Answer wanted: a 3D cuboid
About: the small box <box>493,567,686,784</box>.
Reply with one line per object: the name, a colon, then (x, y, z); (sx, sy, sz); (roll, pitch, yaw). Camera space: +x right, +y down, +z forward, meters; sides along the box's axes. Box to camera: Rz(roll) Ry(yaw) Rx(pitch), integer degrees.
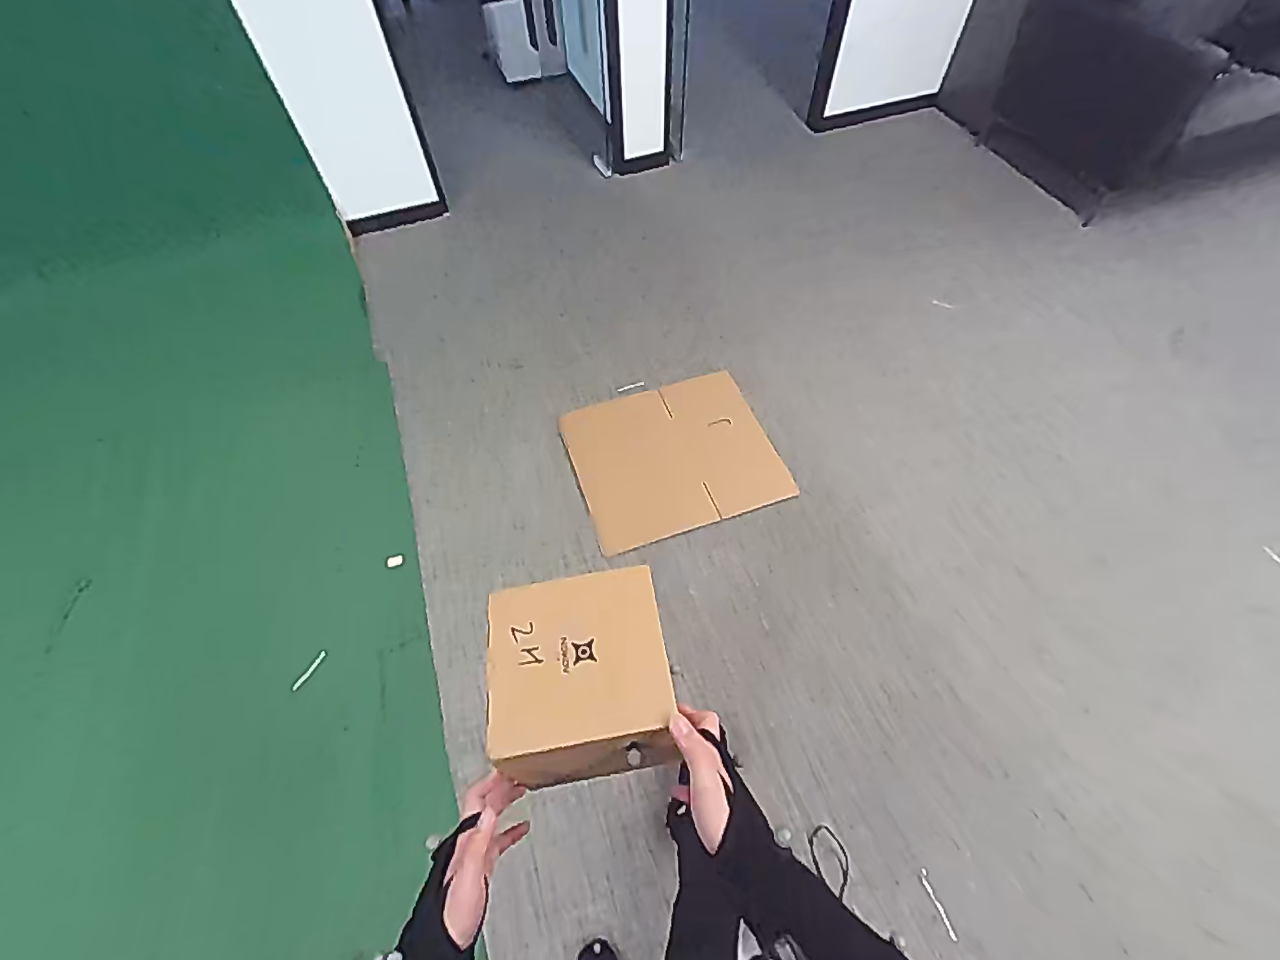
small box: (-0.051, 0.217, 0.590); (0.179, 0.176, 0.168); (-10, 52, -2)
